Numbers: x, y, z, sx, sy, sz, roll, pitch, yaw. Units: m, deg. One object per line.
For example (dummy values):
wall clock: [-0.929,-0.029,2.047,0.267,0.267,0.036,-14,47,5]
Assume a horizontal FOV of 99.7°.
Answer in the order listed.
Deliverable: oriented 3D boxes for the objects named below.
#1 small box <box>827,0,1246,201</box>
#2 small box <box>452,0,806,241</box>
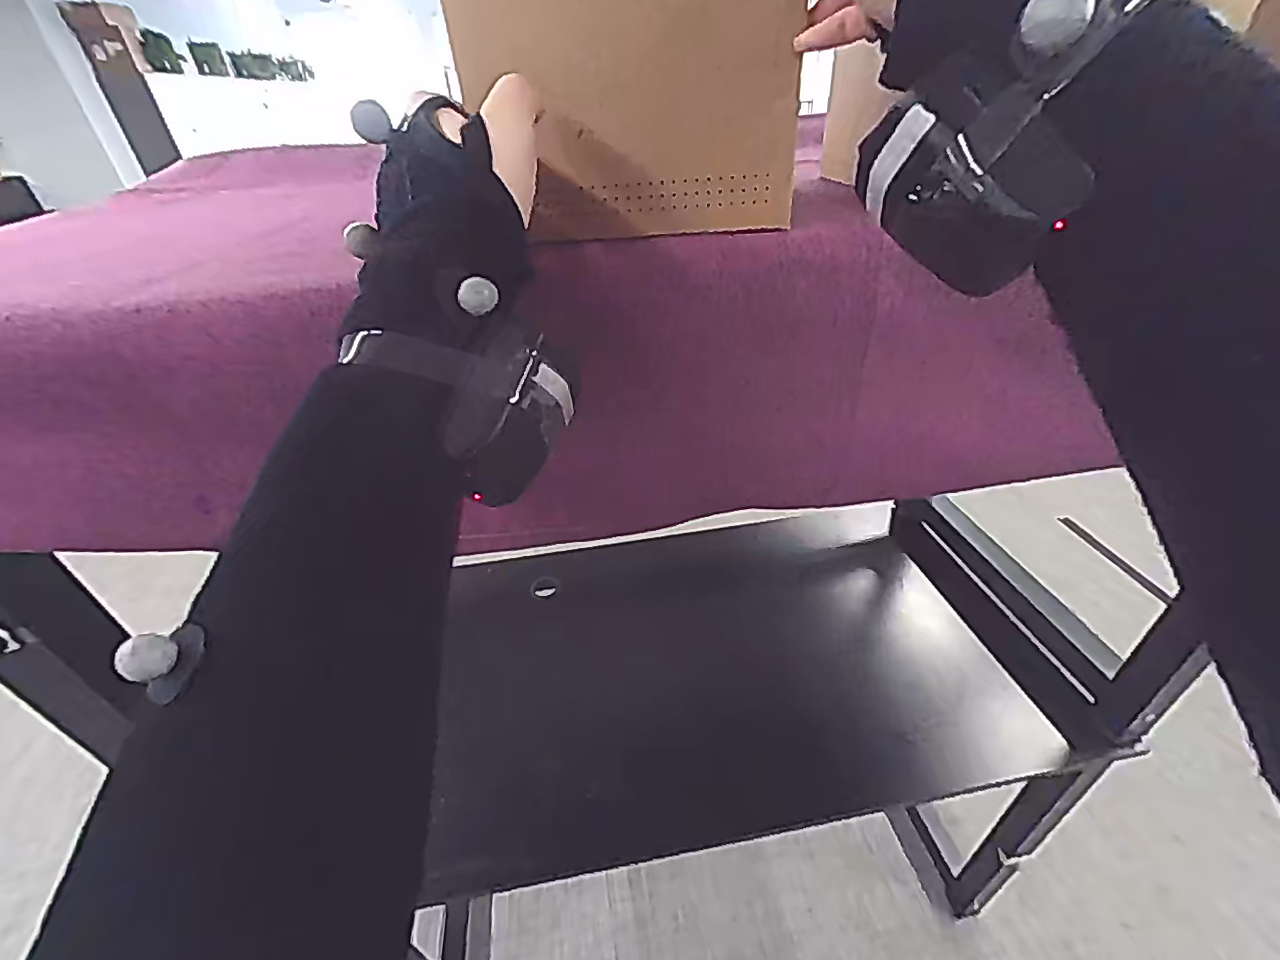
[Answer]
small box: [0.243,-0.288,0.356,0.168,0.176,0.179,-8,35,-6]
small box: [-0.003,-0.249,0.322,0.179,0.176,0.168,-2,36,3]
